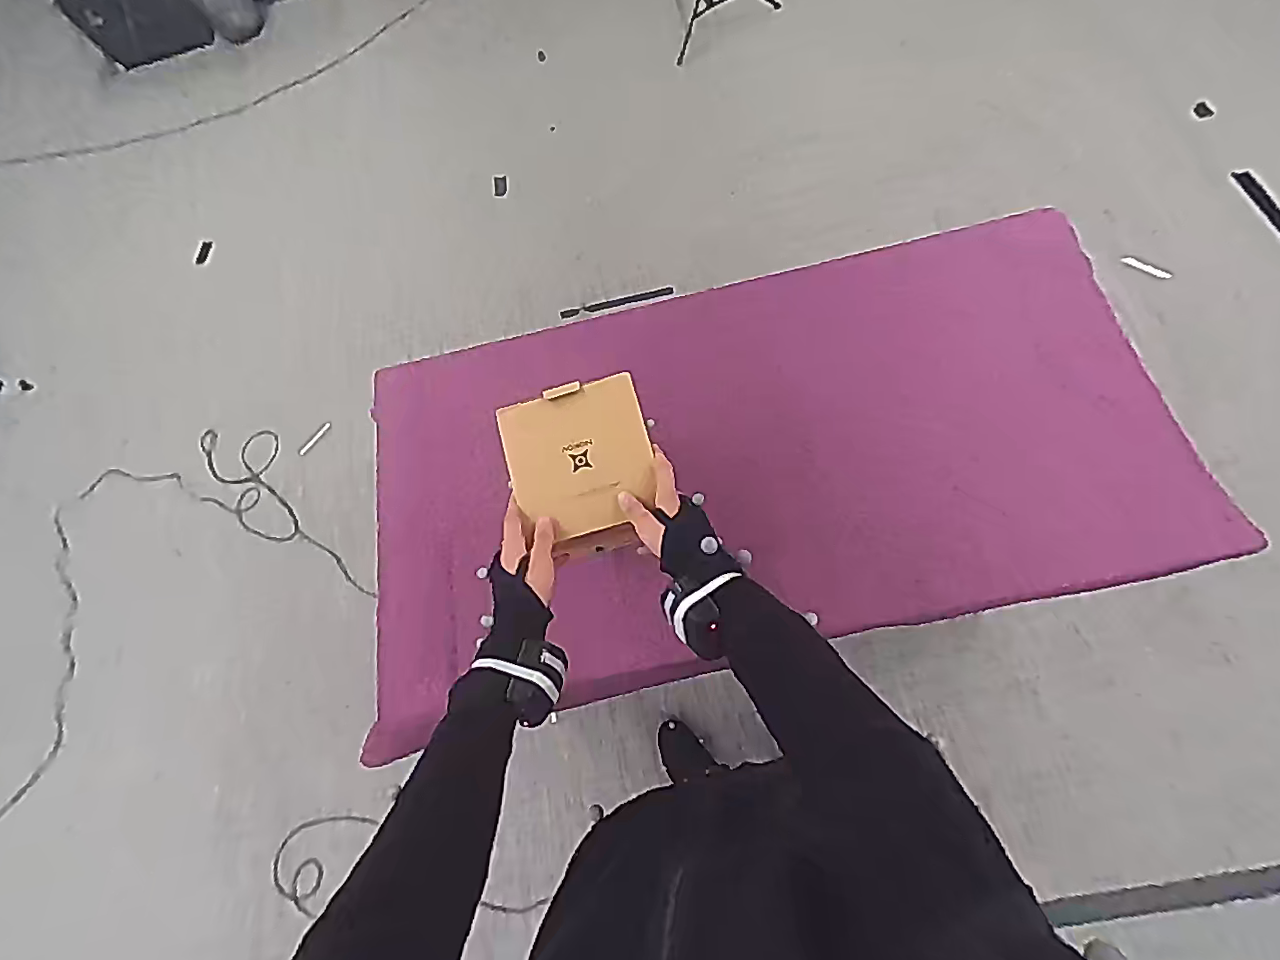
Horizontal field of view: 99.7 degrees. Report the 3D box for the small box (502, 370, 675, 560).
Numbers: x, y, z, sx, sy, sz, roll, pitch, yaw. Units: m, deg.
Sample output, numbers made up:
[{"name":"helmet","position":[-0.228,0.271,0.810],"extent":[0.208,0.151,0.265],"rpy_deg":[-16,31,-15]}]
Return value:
[{"name":"small box","position":[-0.058,-0.009,0.682],"extent":[0.168,0.176,0.179],"rpy_deg":[-16,76,0]}]
